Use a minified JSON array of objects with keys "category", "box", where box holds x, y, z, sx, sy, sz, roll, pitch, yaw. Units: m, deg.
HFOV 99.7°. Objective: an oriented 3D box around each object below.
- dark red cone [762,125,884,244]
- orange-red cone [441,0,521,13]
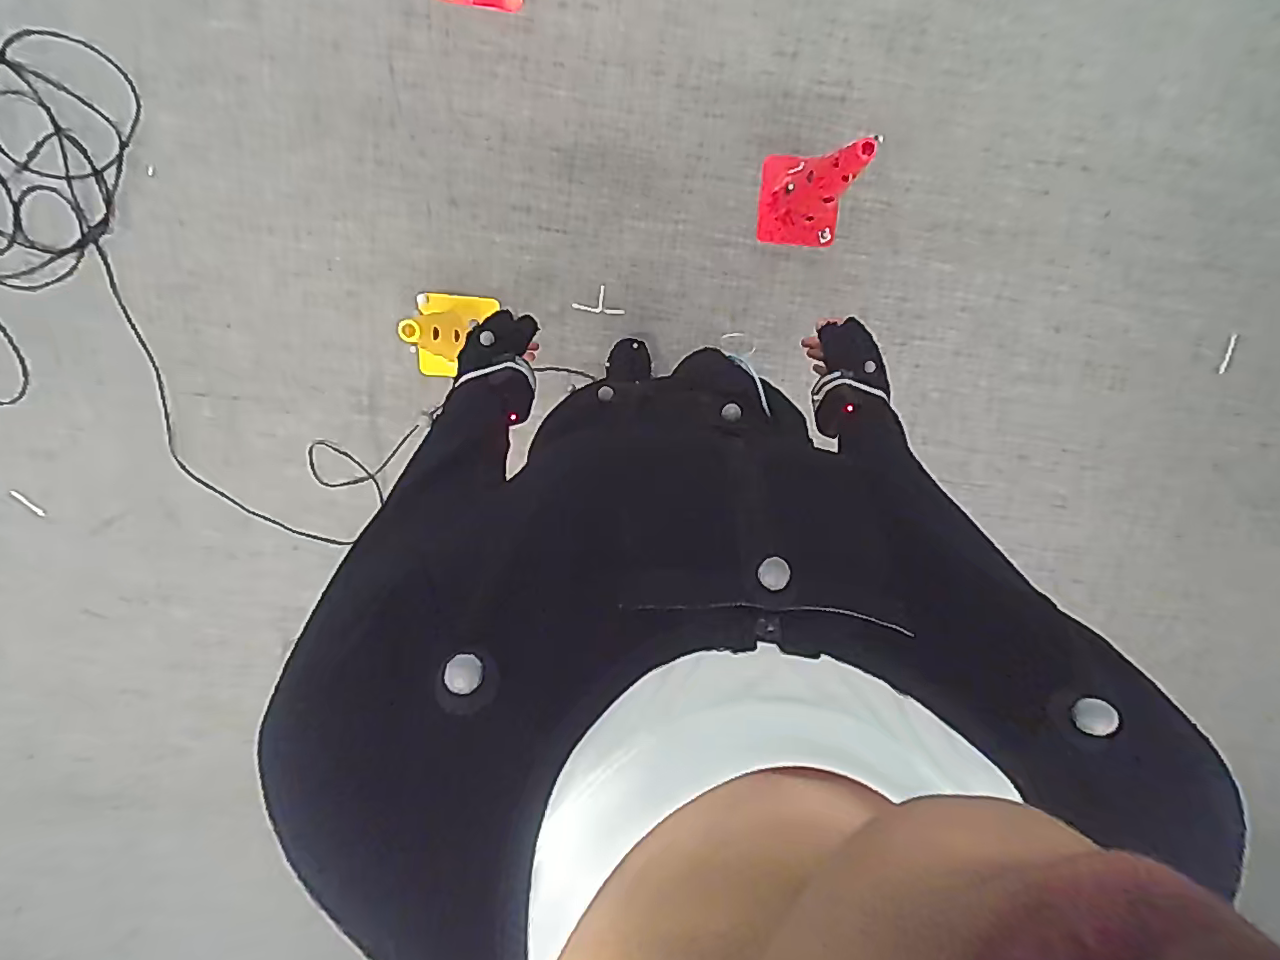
[{"category":"dark red cone","box":[0.406,-0.645,1.145,0.202,0.394,0.201,1,102,-3]},{"category":"orange-red cone","box":[-0.346,-1.110,1.019,0.198,0.360,0.199,7,103,-4]}]
